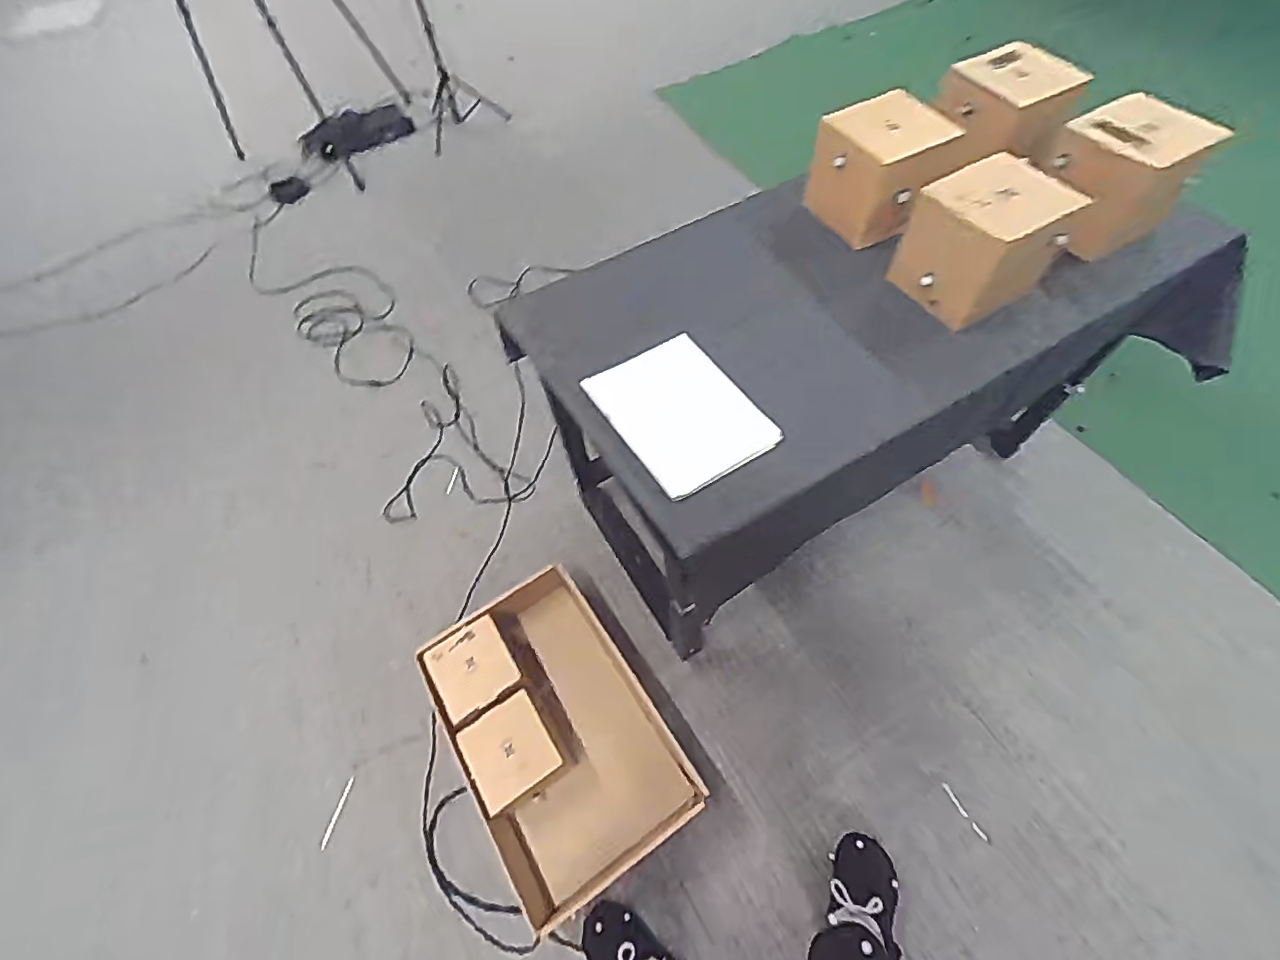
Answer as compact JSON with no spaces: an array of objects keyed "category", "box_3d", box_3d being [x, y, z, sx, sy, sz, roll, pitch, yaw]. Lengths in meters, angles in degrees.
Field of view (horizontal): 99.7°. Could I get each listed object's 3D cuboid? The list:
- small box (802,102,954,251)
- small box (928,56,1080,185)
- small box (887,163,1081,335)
[{"category":"small box","box_3d":[0.429,-0.554,1.007,0.168,0.176,0.179,-26,60,-10]},{"category":"small box","box_3d":[0.683,-0.684,1.061,0.168,0.176,0.179,-26,61,-10]},{"category":"small box","box_3d":[0.545,-0.374,0.886,0.179,0.176,0.168,-28,60,-11]}]
